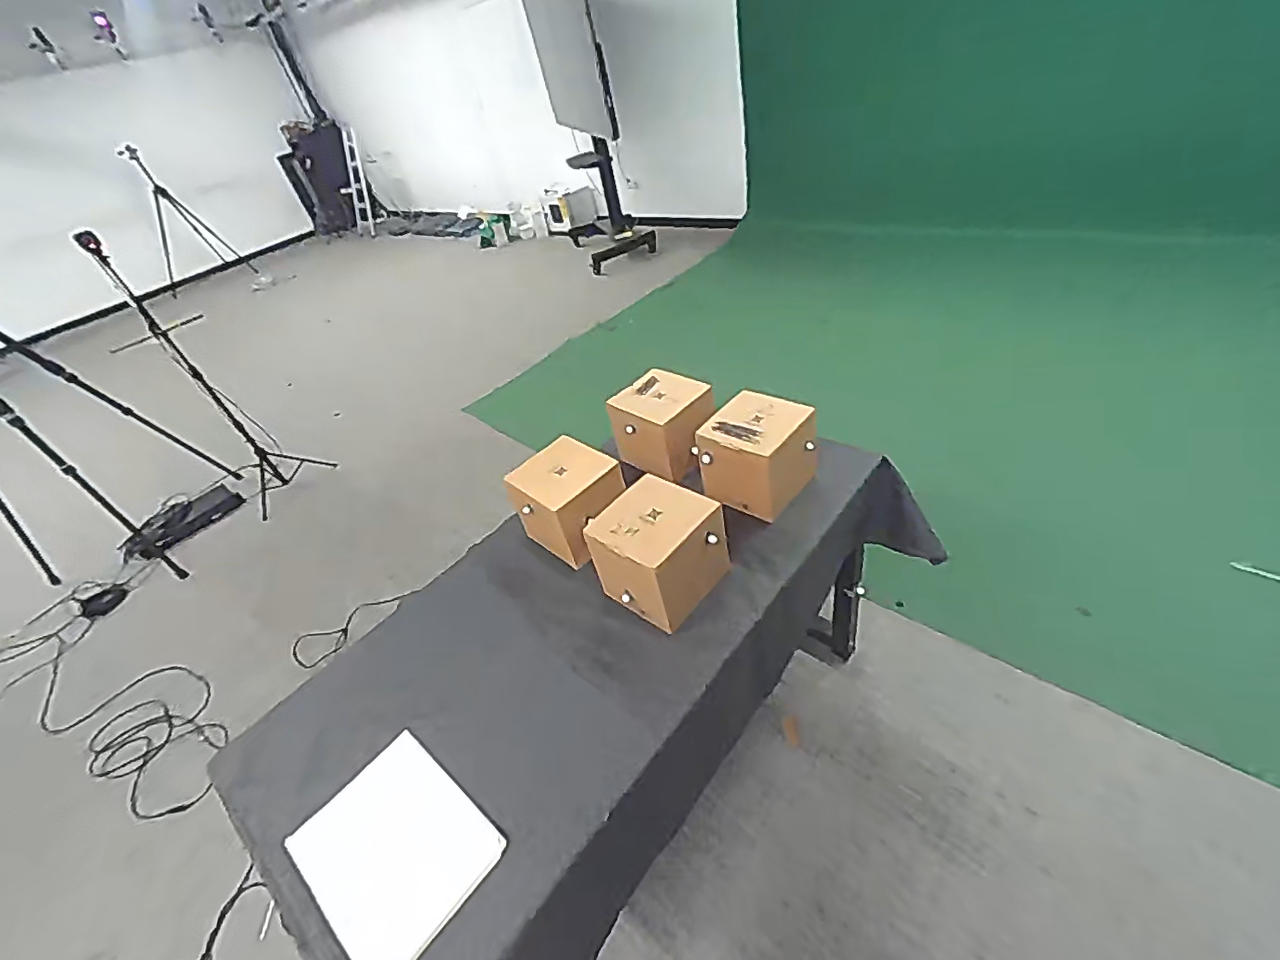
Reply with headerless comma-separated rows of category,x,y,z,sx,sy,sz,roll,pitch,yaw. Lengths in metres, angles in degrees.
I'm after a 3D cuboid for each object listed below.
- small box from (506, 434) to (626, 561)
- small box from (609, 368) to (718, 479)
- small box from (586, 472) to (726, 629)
small box,-0.136,0.039,1.101,0.179,0.176,0.168,26,54,39
small box,0.058,-0.128,1.236,0.179,0.176,0.168,27,55,38
small box,0.037,0.120,0.947,0.168,0.176,0.179,23,53,38
